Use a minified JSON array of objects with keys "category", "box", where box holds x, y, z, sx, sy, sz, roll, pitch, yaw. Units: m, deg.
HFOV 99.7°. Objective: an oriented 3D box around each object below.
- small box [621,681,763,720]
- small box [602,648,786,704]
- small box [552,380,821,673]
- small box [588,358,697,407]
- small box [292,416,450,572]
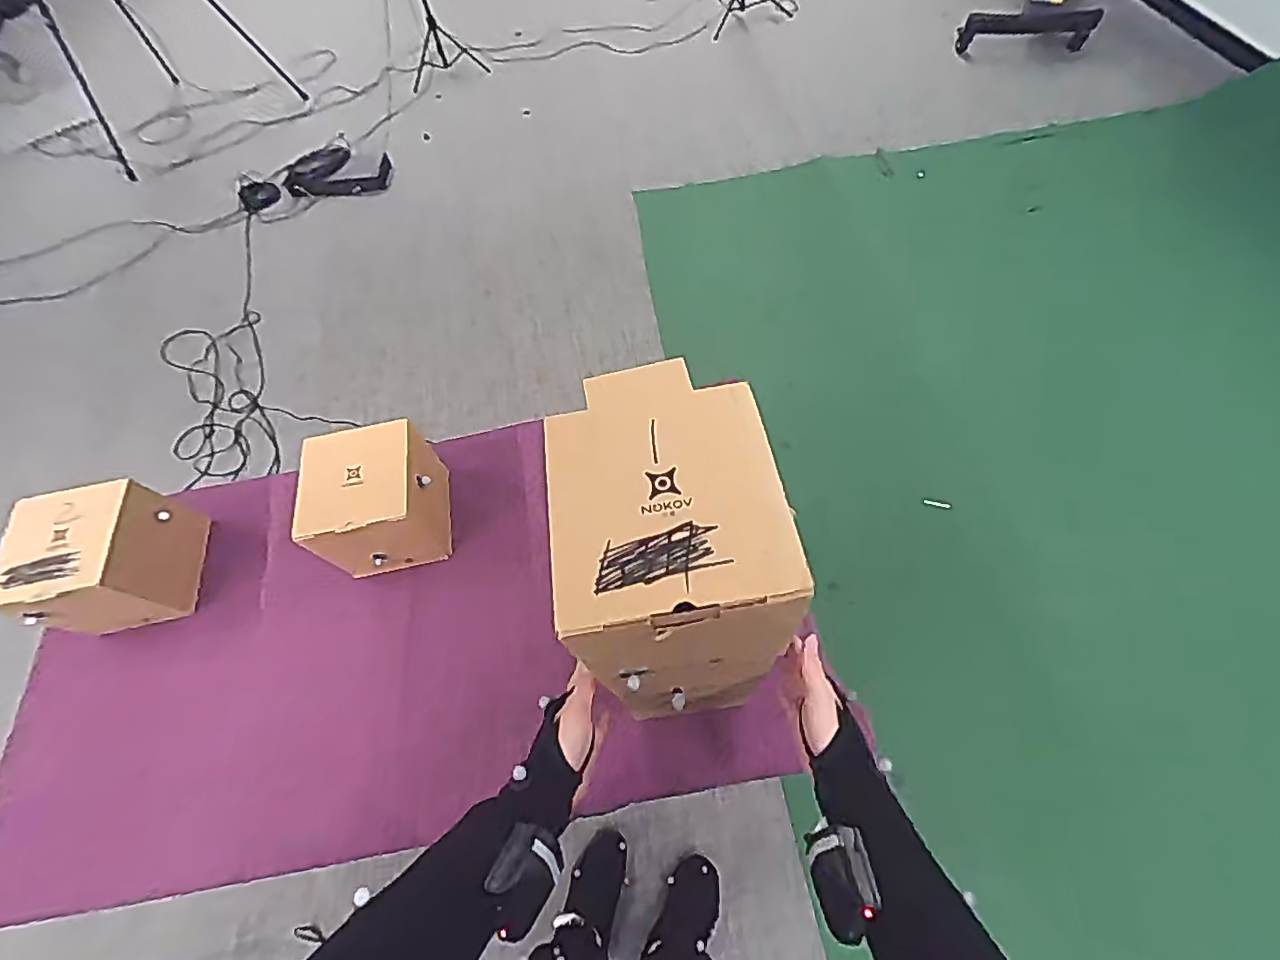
[{"category":"small box","box":[0.058,0.212,0.726,0.168,0.176,0.179,-8,61,1]},{"category":"small box","box":[0.045,0.129,0.584,0.168,0.176,0.179,-9,60,1]},{"category":"small box","box":[0.031,0.050,0.440,0.168,0.176,0.179,-9,58,1]},{"category":"small box","box":[0.018,-0.066,0.876,0.168,0.176,0.179,-12,62,1]},{"category":"small box","box":[-0.414,0.027,0.862,0.168,0.176,0.179,-11,62,-3]}]
